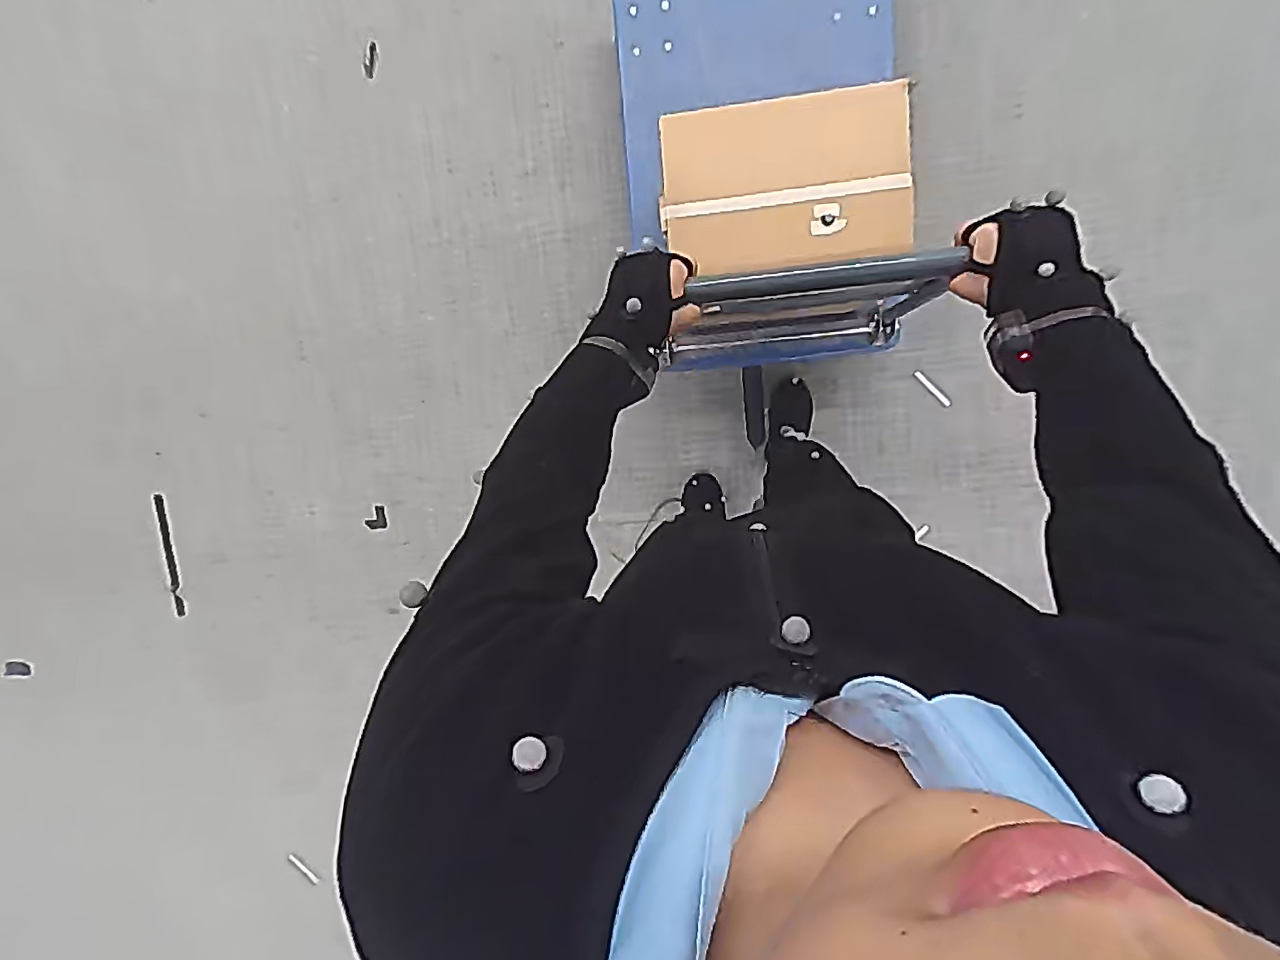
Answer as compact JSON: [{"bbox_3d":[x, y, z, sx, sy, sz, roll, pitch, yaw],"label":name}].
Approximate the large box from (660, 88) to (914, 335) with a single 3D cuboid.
[{"bbox_3d":[0.257,-0.477,1.046,0.408,0.320,0.320,-4,98,6],"label":"large box"}]
